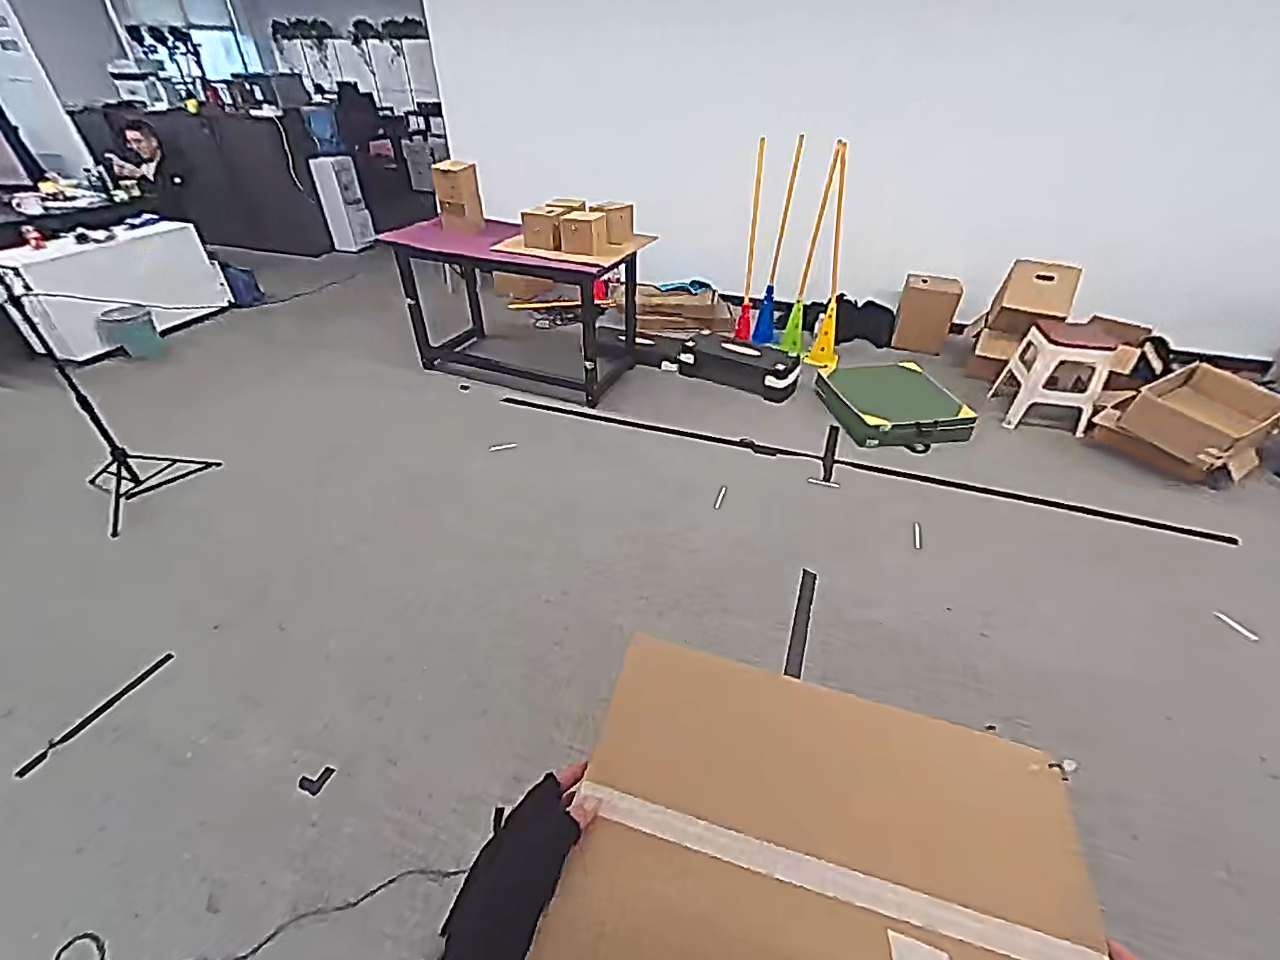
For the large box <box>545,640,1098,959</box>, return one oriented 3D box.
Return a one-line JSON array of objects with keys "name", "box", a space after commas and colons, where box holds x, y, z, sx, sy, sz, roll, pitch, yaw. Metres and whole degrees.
[{"name": "large box", "box": [0.142, 0.417, 0.539, 0.408, 0.320, 0.320, 14, 47, 9]}]
